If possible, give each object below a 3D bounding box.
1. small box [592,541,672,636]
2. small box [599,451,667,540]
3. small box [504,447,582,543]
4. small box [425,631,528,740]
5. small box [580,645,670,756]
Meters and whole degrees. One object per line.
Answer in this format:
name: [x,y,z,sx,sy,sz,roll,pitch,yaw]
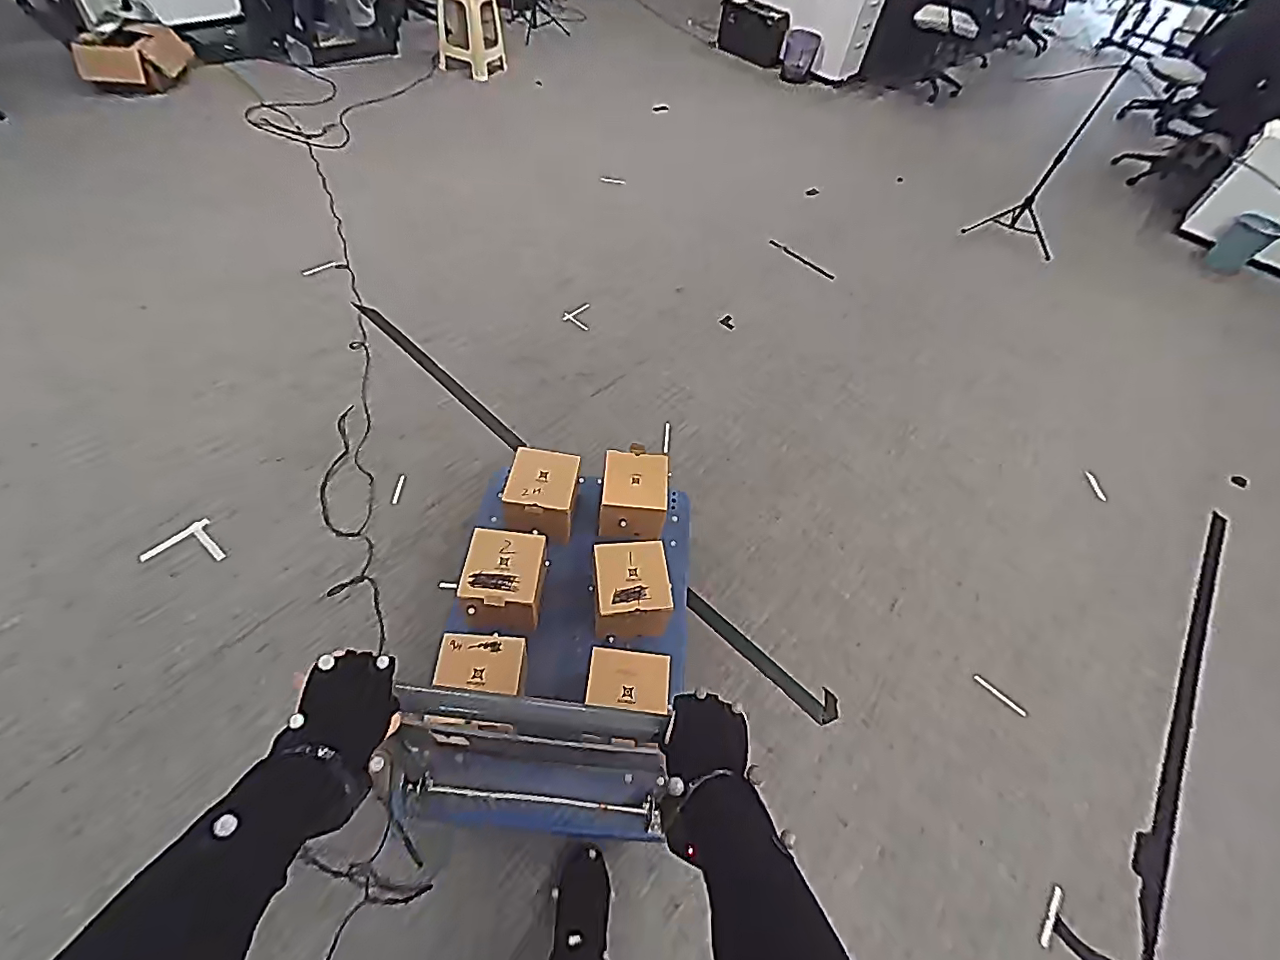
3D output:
small box: [-0.026,0.265,1.299,0.168,0.176,0.179,-2,54,-10]
small box: [-0.020,0.045,1.461,0.168,0.176,0.179,6,53,-4]
small box: [-0.252,0.041,1.426,0.168,0.176,0.179,10,54,-2]
small box: [-0.329,0.433,1.127,0.168,0.176,0.179,6,53,-6]
small box: [-0.034,0.473,1.147,0.168,0.176,0.179,9,53,-3]
